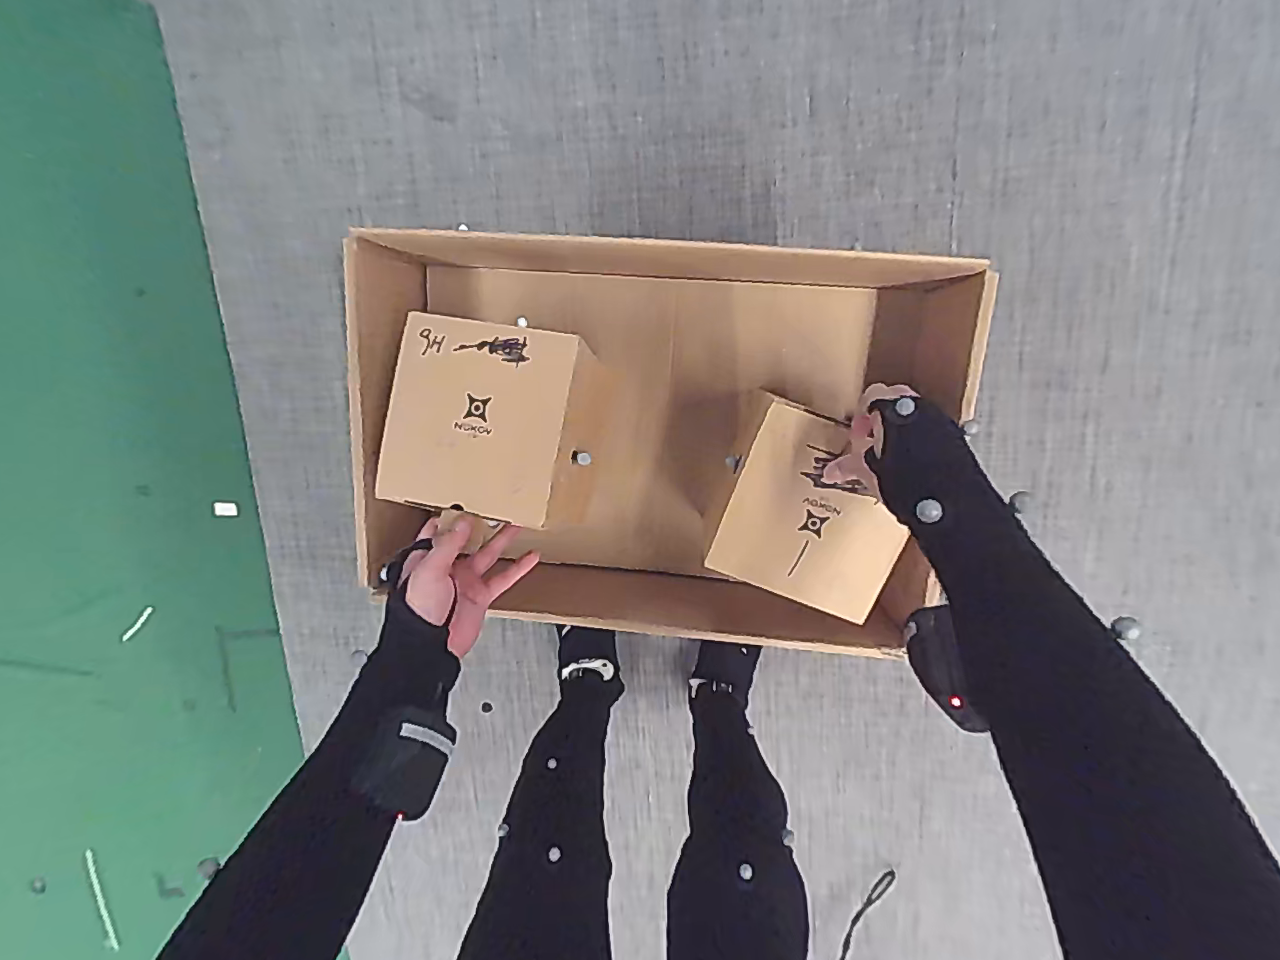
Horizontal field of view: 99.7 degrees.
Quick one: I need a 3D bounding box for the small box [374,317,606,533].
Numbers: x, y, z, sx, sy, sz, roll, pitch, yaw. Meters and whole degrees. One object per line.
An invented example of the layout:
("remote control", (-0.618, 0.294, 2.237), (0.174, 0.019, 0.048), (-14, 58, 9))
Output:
("small box", (-0.140, -0.049, 0.566), (0.168, 0.176, 0.179), (10, 89, 8))
